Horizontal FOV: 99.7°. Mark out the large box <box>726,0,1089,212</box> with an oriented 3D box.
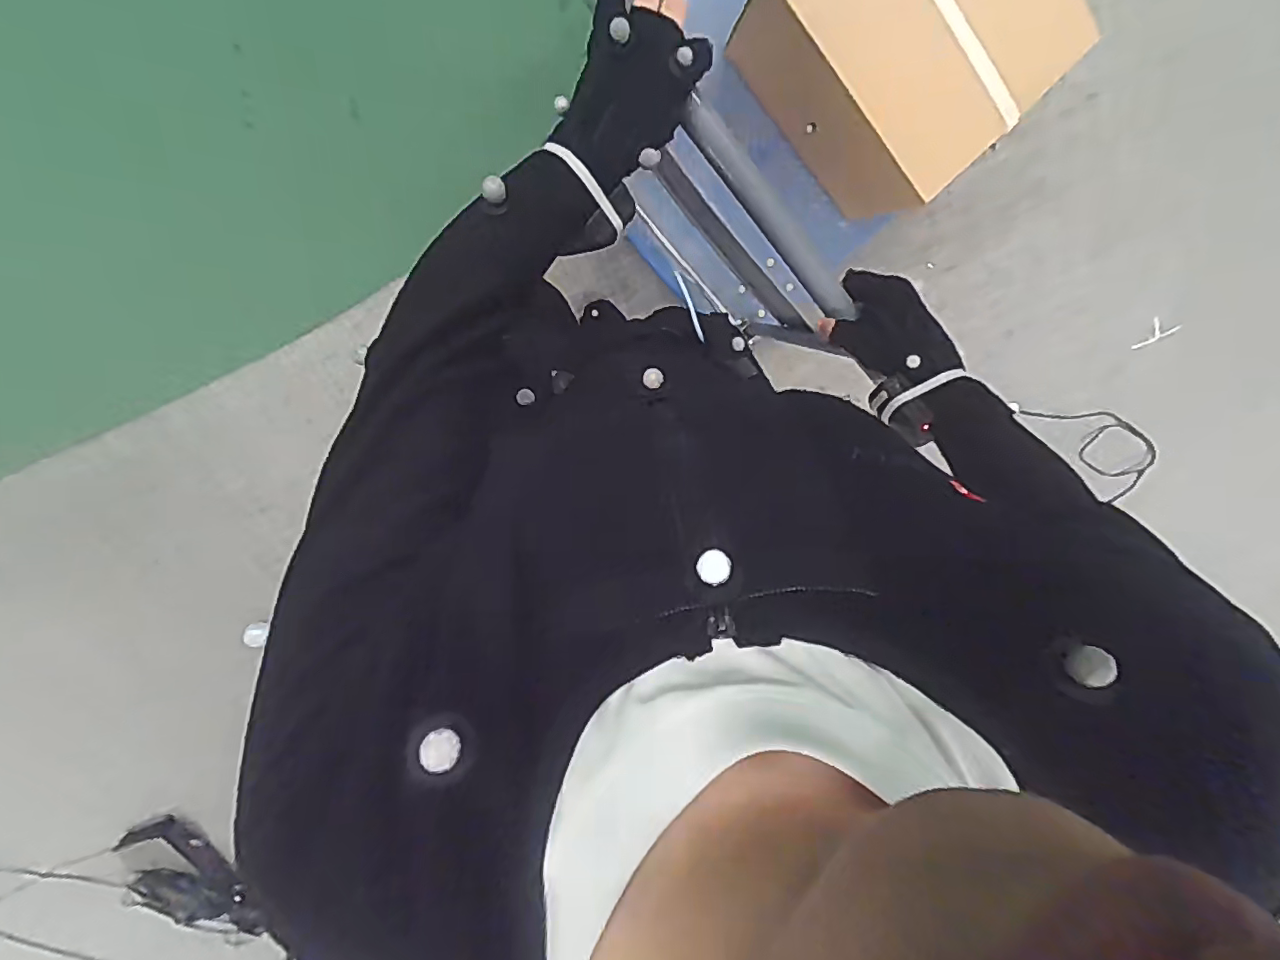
[{"bbox_3d":[0.410,-0.732,0.911,0.320,0.320,0.408,-44,107,13],"label":"large box"}]
